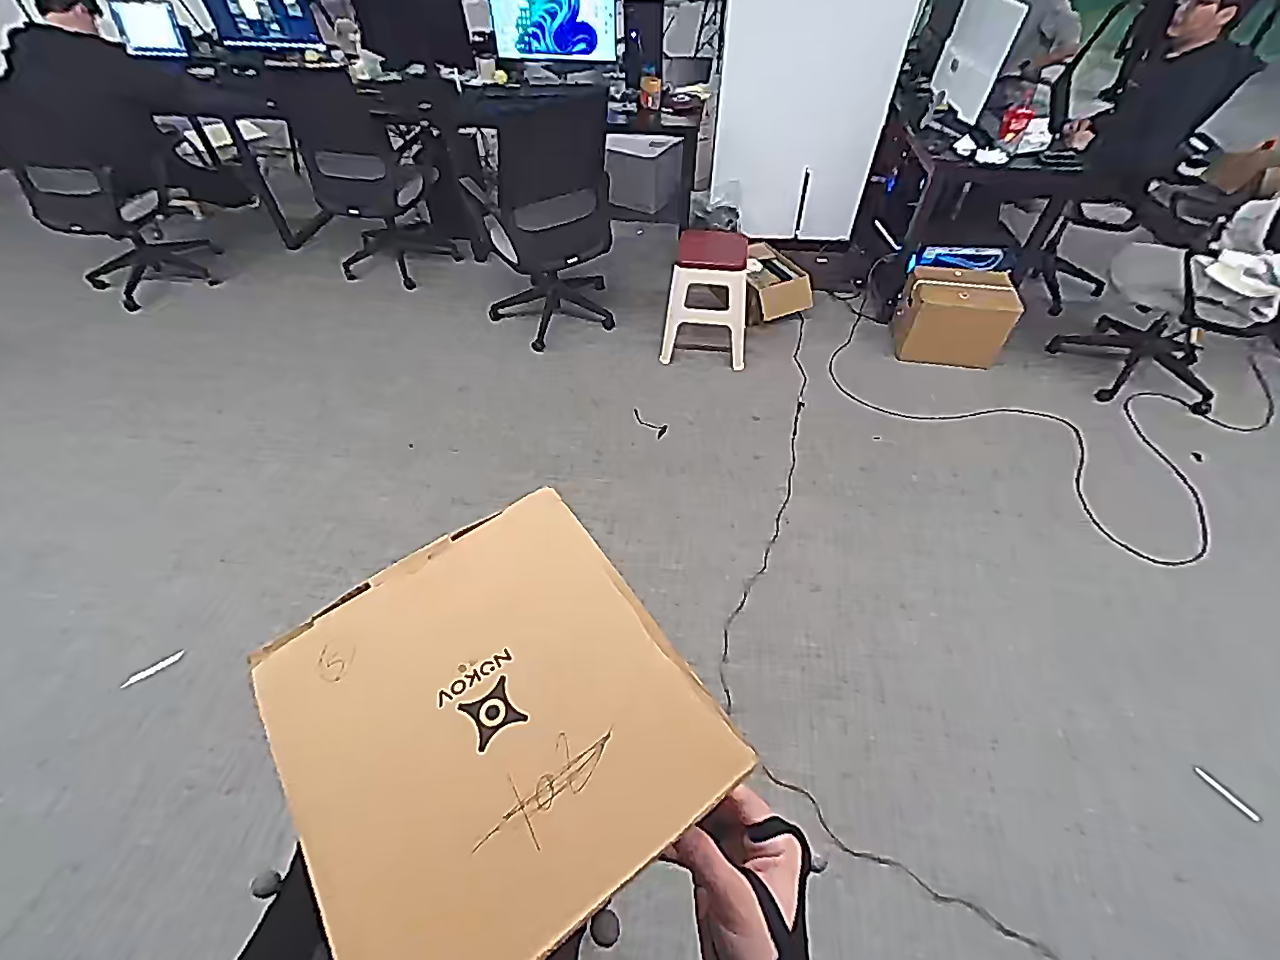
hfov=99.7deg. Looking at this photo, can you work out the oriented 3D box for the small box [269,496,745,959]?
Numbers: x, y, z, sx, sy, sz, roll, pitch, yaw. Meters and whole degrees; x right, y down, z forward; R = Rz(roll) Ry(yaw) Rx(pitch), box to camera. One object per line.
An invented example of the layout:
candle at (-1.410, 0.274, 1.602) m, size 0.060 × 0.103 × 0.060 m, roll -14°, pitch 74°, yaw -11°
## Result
small box at (-0.067, 0.149, 0.317) m, size 0.168 × 0.176 × 0.179 m, roll -31°, pitch 61°, yaw -19°
